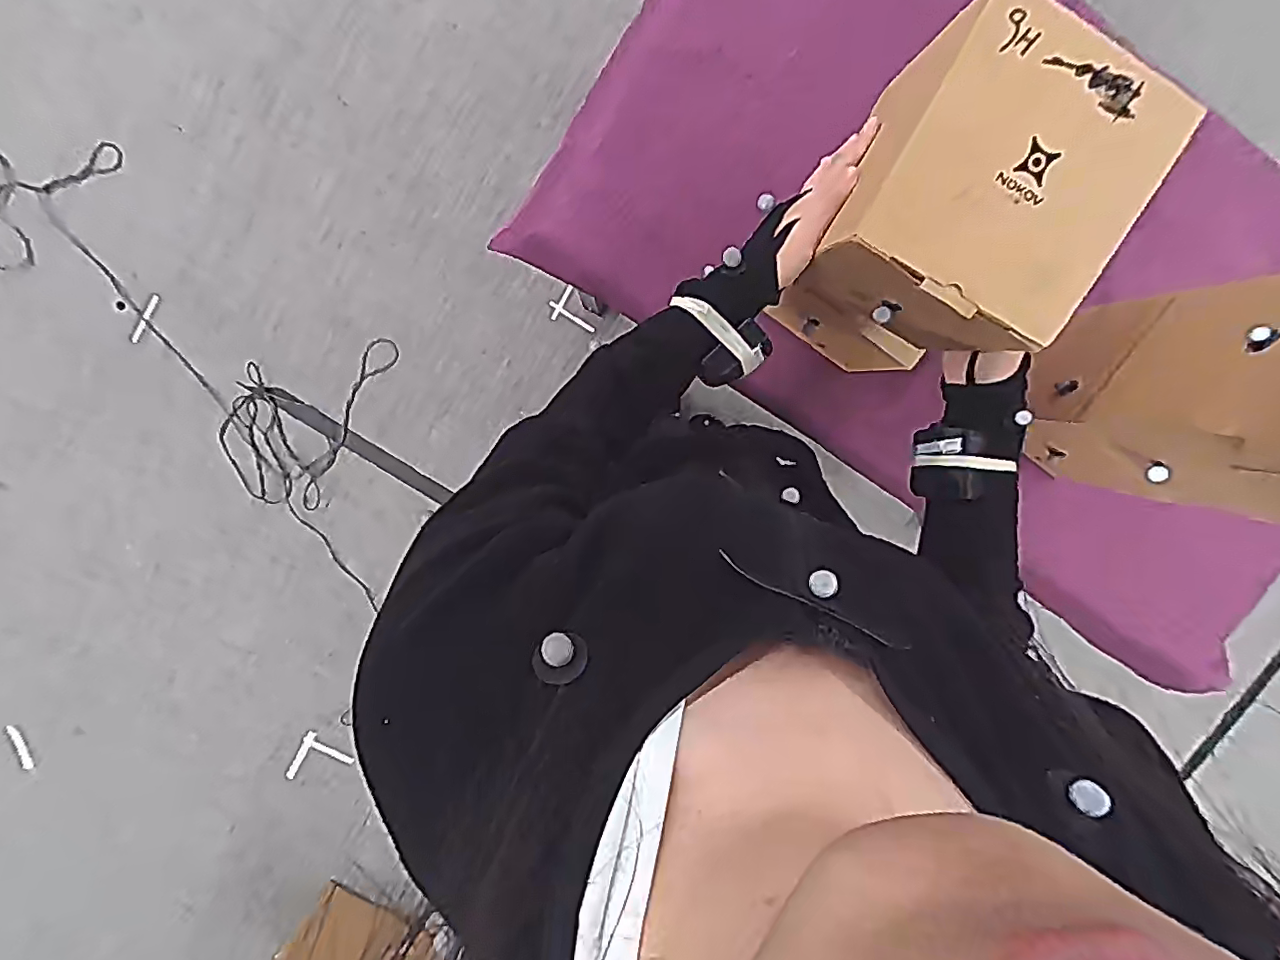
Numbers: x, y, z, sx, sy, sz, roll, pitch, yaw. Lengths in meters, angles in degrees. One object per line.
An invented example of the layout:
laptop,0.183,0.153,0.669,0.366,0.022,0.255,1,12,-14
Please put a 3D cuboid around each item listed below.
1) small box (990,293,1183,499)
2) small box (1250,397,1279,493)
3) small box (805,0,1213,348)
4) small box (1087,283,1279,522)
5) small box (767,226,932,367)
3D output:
small box,0.594,-0.104,0.689,0.168,0.176,0.179,35,96,-8
small box,0.603,-0.030,0.371,0.168,0.176,0.179,31,97,-8
small box,0.254,-0.224,0.430,0.168,0.176,0.179,26,103,-9
small box,0.606,-0.077,0.527,0.168,0.176,0.179,35,97,-7
small box,0.273,-0.250,0.649,0.168,0.176,0.179,33,96,-8
